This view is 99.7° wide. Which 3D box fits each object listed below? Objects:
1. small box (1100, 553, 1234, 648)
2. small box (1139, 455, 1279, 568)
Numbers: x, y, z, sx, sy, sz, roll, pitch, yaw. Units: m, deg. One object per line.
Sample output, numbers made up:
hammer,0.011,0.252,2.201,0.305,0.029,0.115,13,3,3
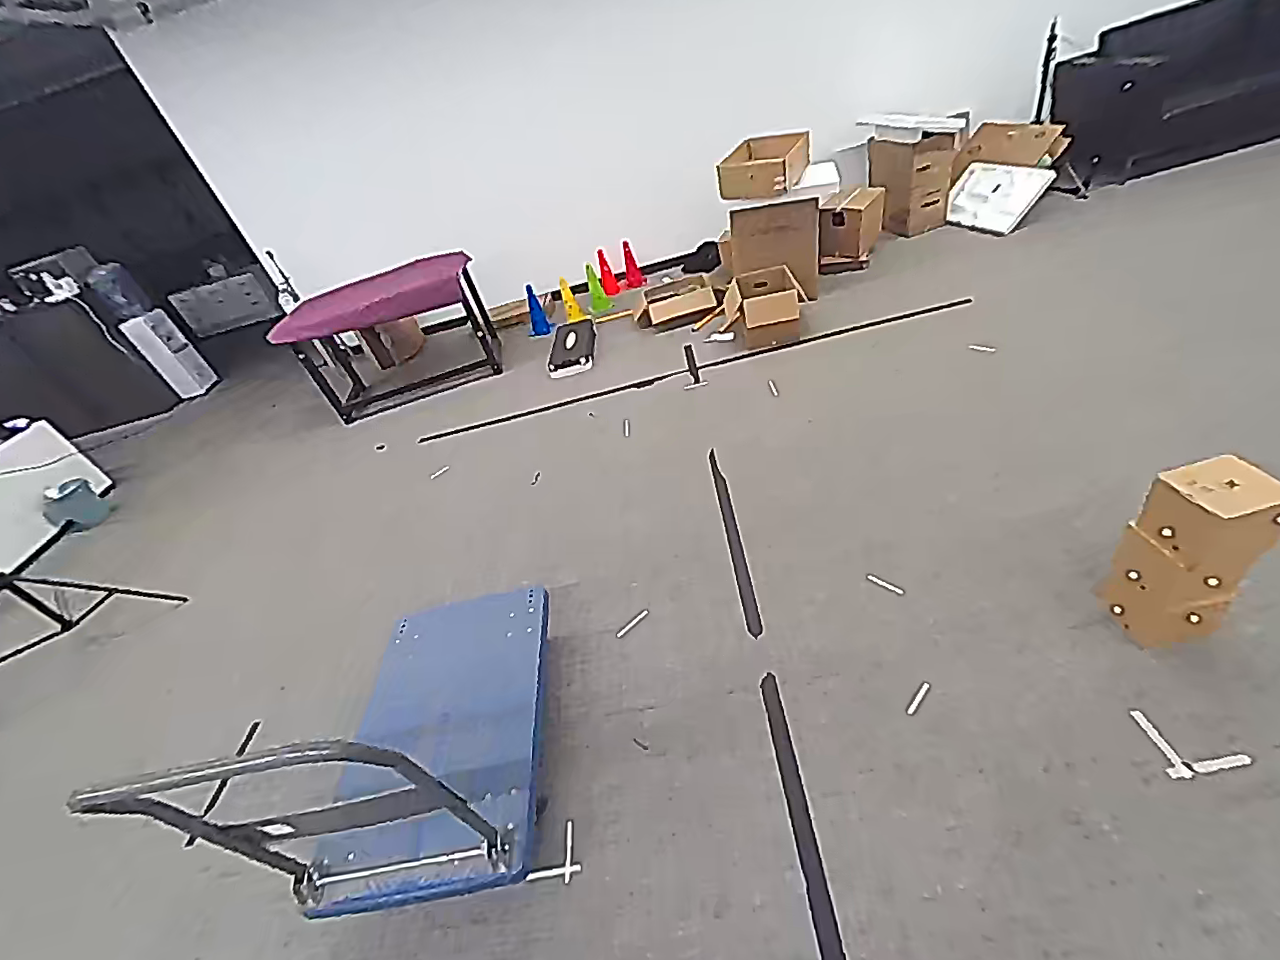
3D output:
small box,1.395,0.323,1.450,0.179,0.176,0.168,-14,37,5
small box,1.320,0.074,1.247,0.179,0.176,0.168,-17,36,3
